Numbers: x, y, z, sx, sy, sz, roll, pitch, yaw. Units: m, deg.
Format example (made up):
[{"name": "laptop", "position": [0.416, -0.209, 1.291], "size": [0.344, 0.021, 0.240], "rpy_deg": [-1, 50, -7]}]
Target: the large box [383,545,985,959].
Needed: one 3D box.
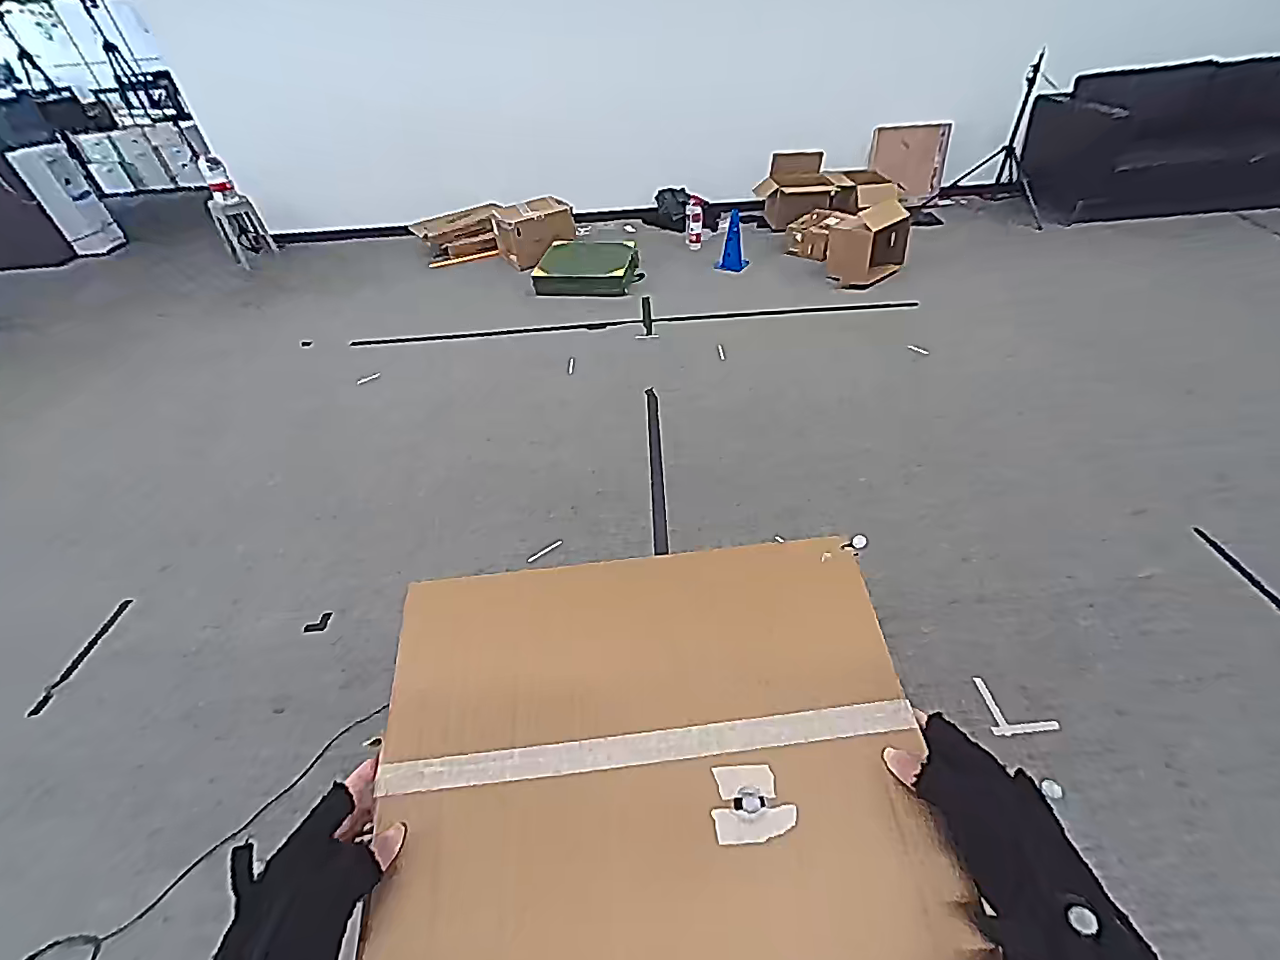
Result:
[{"name": "large box", "position": [0.017, 0.293, 0.548], "size": [0.408, 0.320, 0.320], "rpy_deg": [-6, 57, -2]}]
